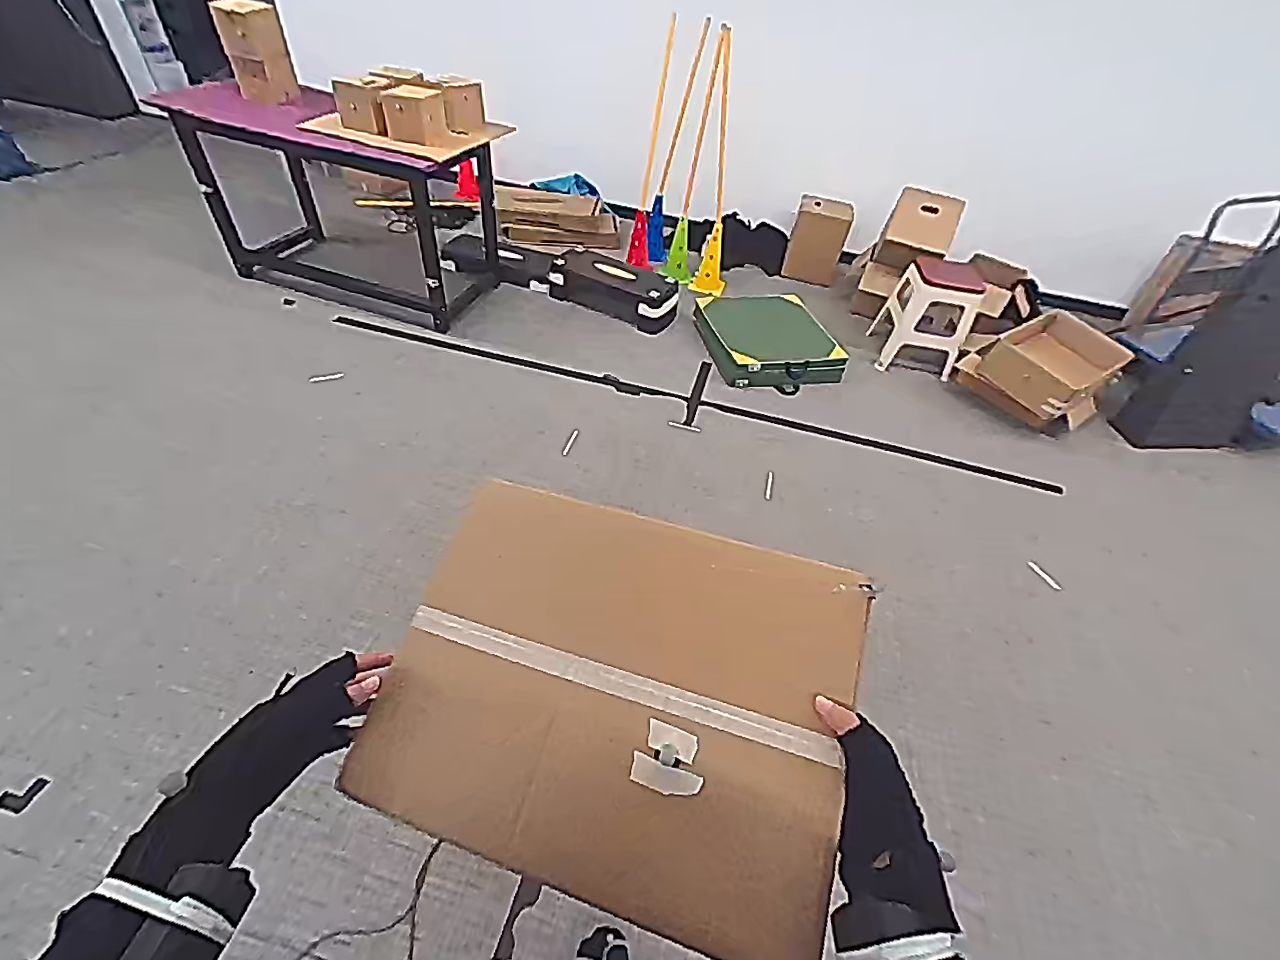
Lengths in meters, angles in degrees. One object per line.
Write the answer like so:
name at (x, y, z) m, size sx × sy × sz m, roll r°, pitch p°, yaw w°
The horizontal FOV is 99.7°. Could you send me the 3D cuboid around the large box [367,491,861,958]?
large box at (-0.002, 0.250, 0.634) m, size 0.408 × 0.320 × 0.320 m, roll 13°, pitch 66°, yaw 14°
